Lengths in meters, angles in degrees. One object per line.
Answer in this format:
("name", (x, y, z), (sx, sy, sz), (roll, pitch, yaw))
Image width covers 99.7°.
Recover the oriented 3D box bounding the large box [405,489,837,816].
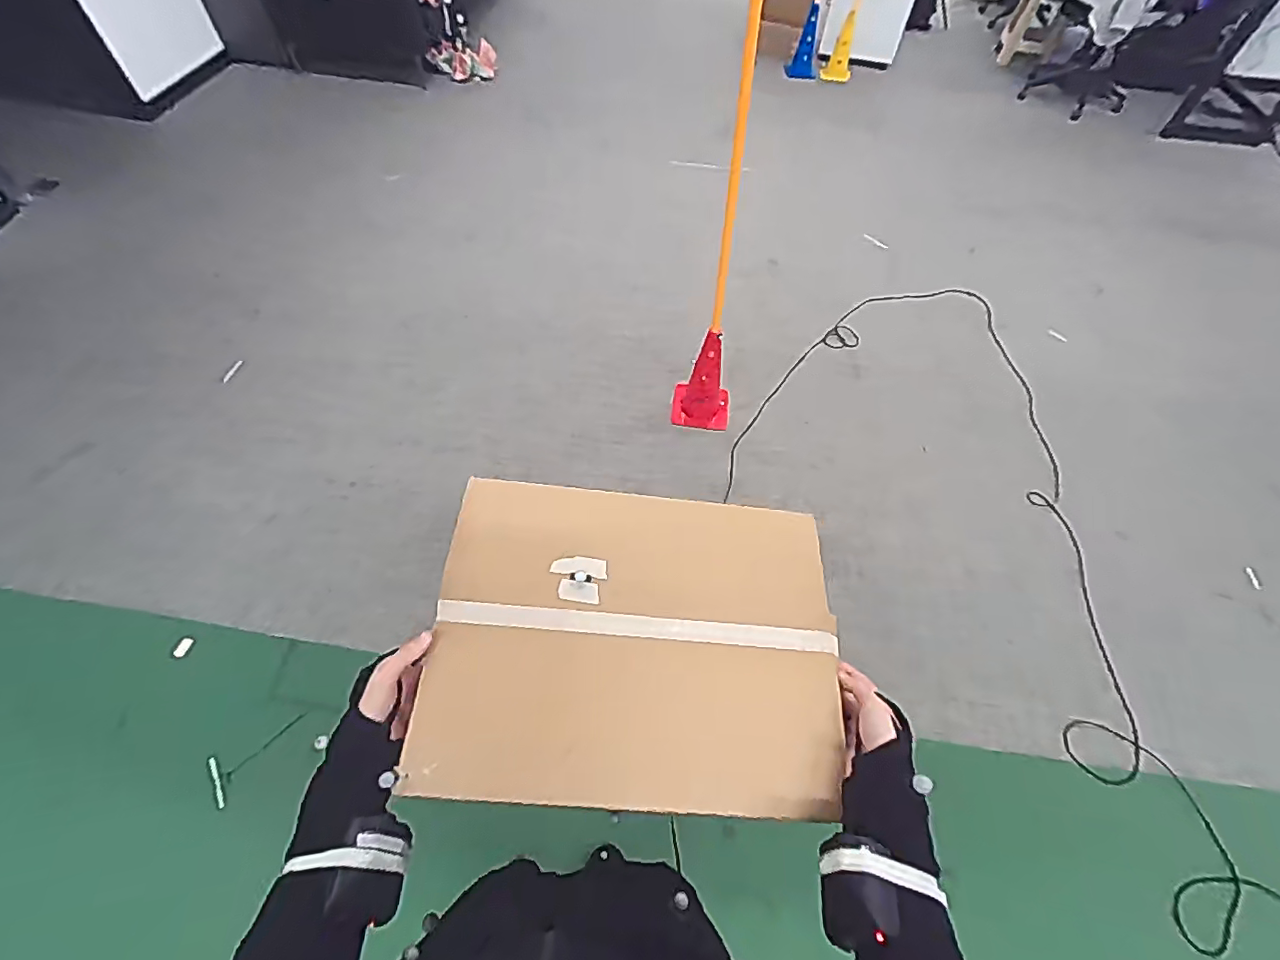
("large box", (-0.020, 0.232, 0.691), (0.408, 0.320, 0.320), (6, 59, -4))
